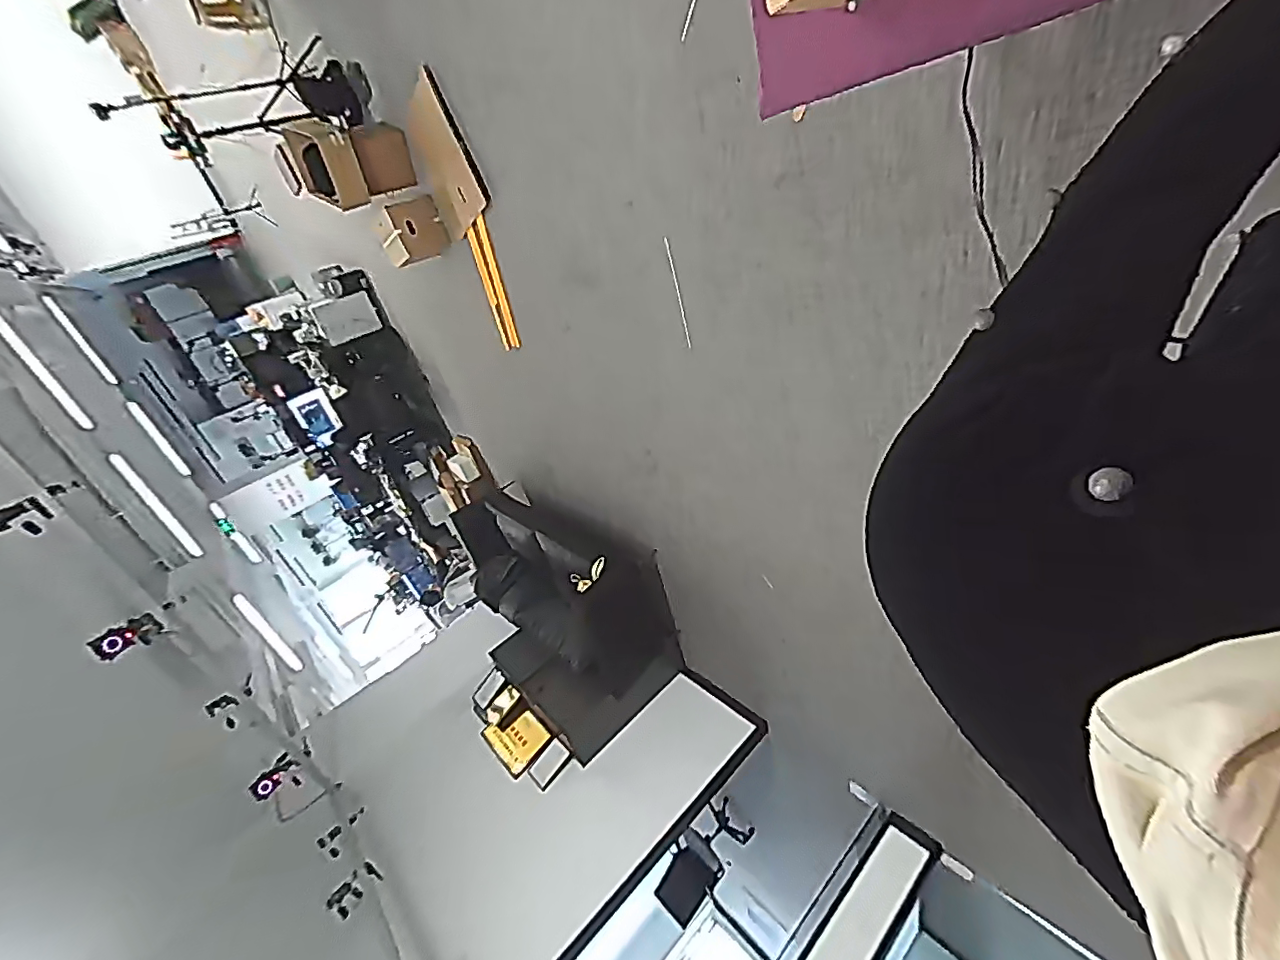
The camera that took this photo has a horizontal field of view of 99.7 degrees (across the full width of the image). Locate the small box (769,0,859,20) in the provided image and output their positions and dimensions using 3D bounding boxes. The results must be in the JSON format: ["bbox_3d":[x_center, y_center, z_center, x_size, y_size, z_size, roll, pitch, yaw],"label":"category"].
[{"bbox_3d":[0.251,-0.667,0.610,0.168,0.176,0.179,17,132,50],"label":"small box"}]
